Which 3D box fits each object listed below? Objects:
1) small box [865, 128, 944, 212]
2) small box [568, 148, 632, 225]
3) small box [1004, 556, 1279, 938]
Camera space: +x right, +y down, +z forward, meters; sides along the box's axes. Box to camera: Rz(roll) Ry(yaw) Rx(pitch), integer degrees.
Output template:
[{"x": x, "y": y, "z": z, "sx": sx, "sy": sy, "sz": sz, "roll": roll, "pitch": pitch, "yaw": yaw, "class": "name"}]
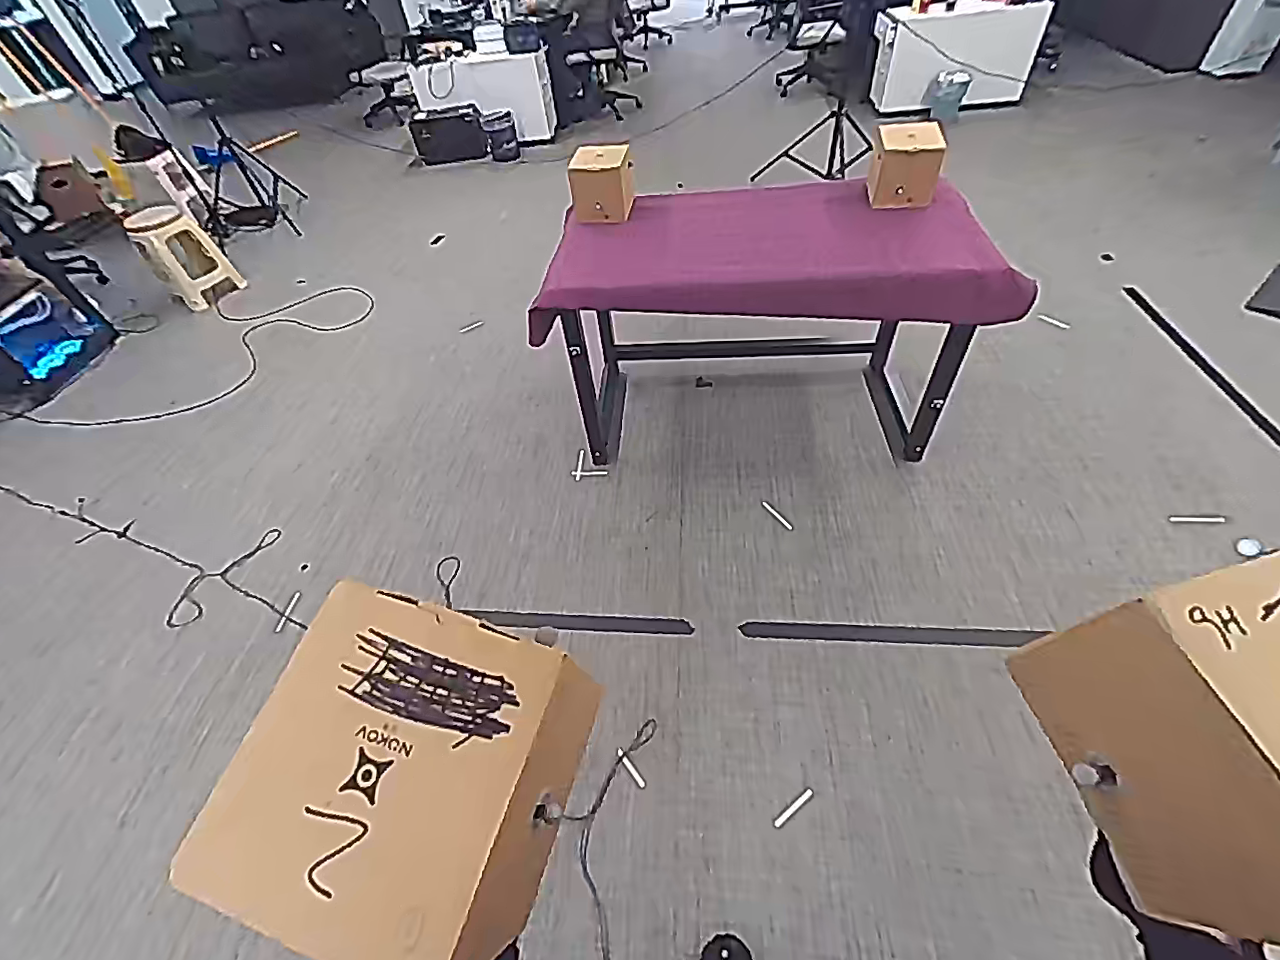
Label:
[{"x": 0.787, "y": -0.932, "z": 1.628, "sx": 0.168, "sy": 0.176, "sz": 0.179, "roll": 3, "pitch": 54, "yaw": 10, "class": "small box"}, {"x": -0.122, "y": -0.944, "z": 1.741, "sx": 0.168, "sy": 0.176, "sz": 0.179, "roll": 3, "pitch": 51, "yaw": 9, "class": "small box"}, {"x": 0.388, "y": 0.159, "z": 0.343, "sx": 0.168, "sy": 0.176, "sz": 0.179, "roll": -15, "pitch": 60, "yaw": -3, "class": "small box"}]
